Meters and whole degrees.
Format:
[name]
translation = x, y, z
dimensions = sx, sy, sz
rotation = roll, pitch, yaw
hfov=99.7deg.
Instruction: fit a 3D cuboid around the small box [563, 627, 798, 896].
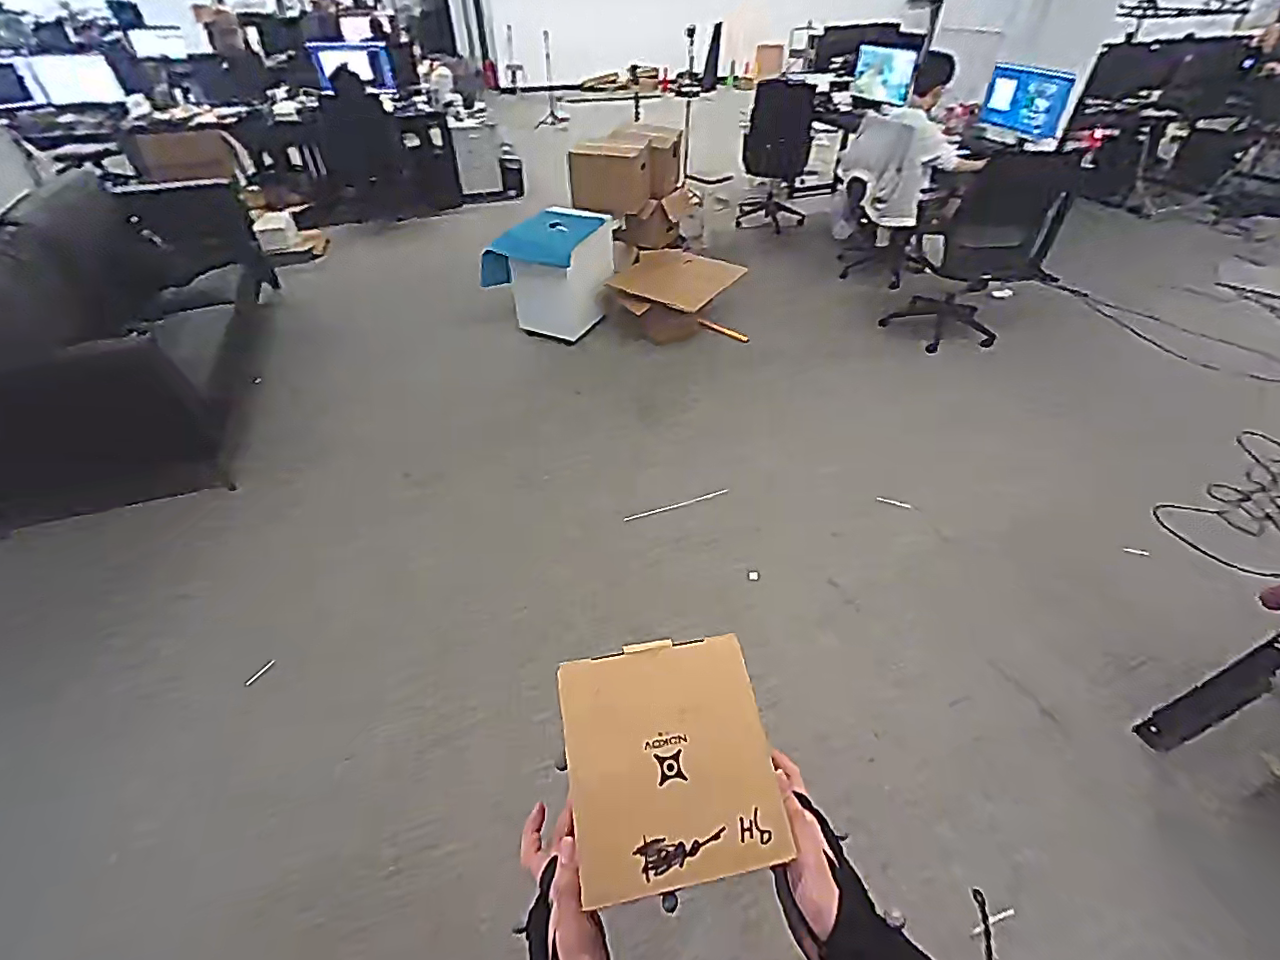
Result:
[small box]
translation = 0.021, 0.259, 0.508
dimensions = 0.168, 0.176, 0.179
rotation = -8, 59, -7
